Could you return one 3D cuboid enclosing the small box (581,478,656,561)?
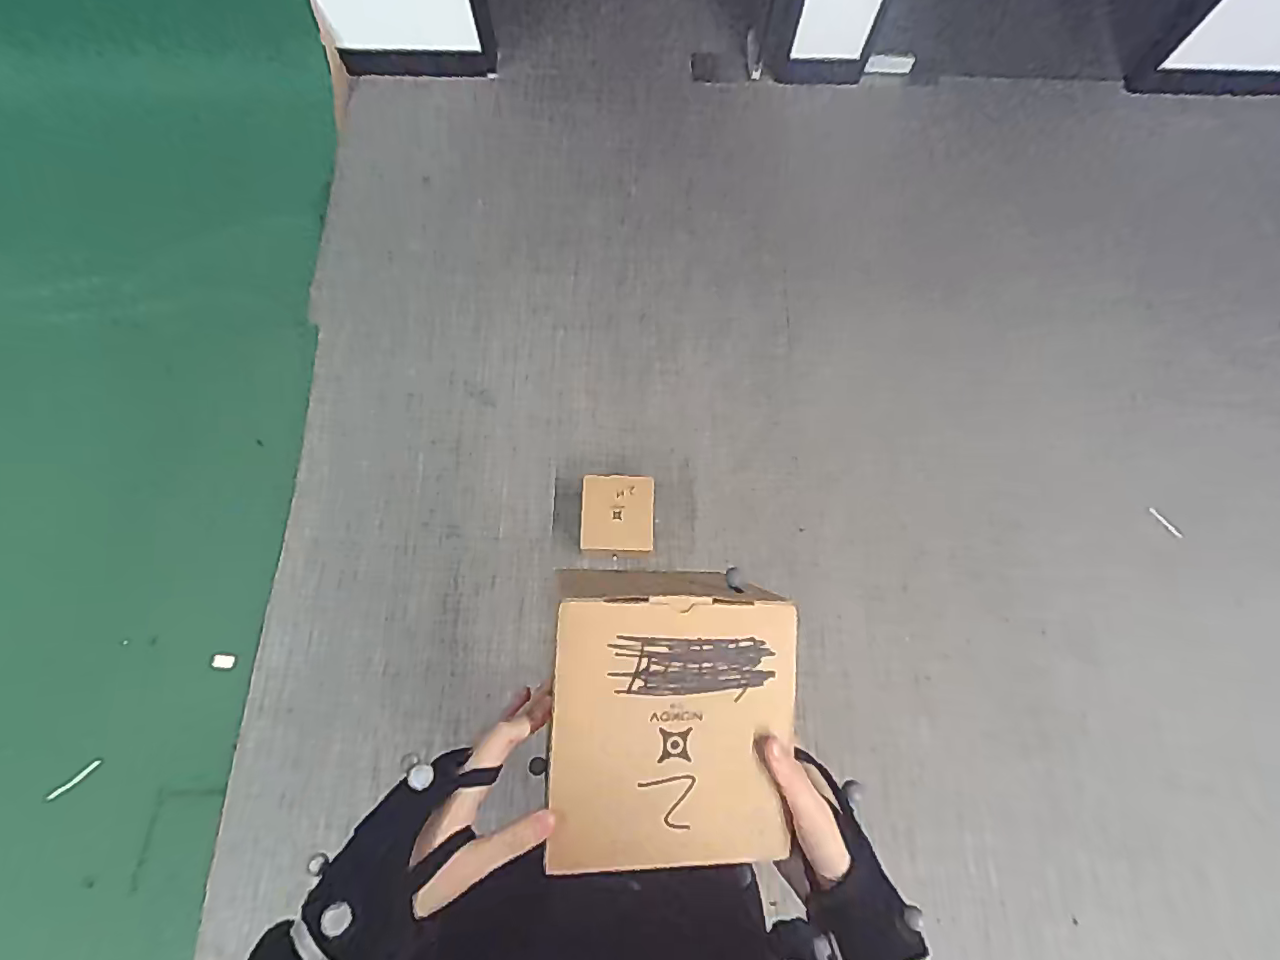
[{"bbox_3d":[-0.048,0.100,1.310,0.168,0.176,0.179,2,75,0],"label":"small box"}]
